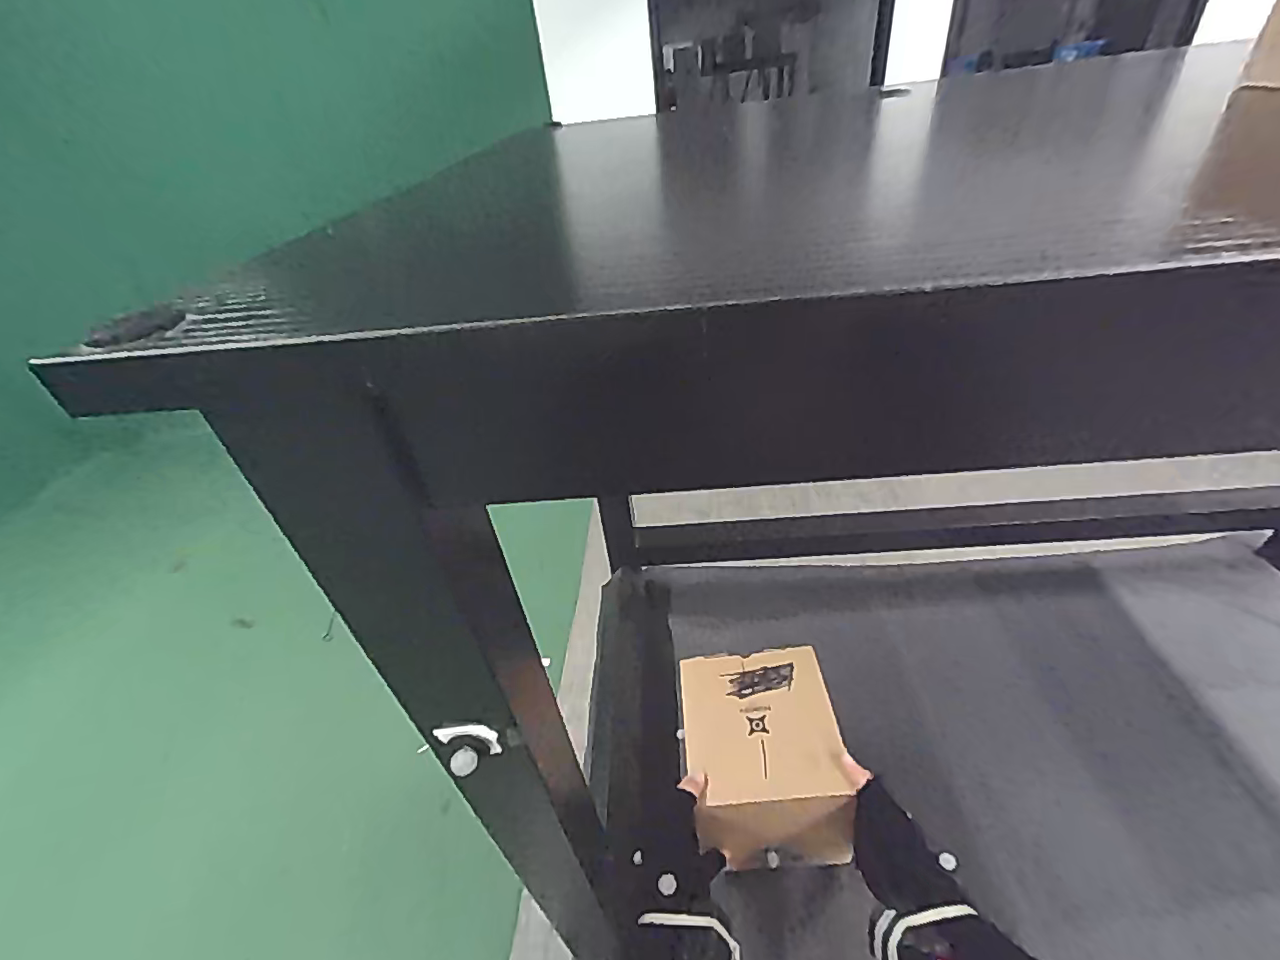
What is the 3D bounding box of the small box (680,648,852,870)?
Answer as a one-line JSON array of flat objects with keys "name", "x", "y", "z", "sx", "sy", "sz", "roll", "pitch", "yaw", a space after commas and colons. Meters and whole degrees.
[{"name": "small box", "x": 0.141, "y": 0.331, "z": 0.647, "sx": 0.168, "sy": 0.176, "sz": 0.179, "roll": -8, "pitch": 35, "yaw": 6}]
